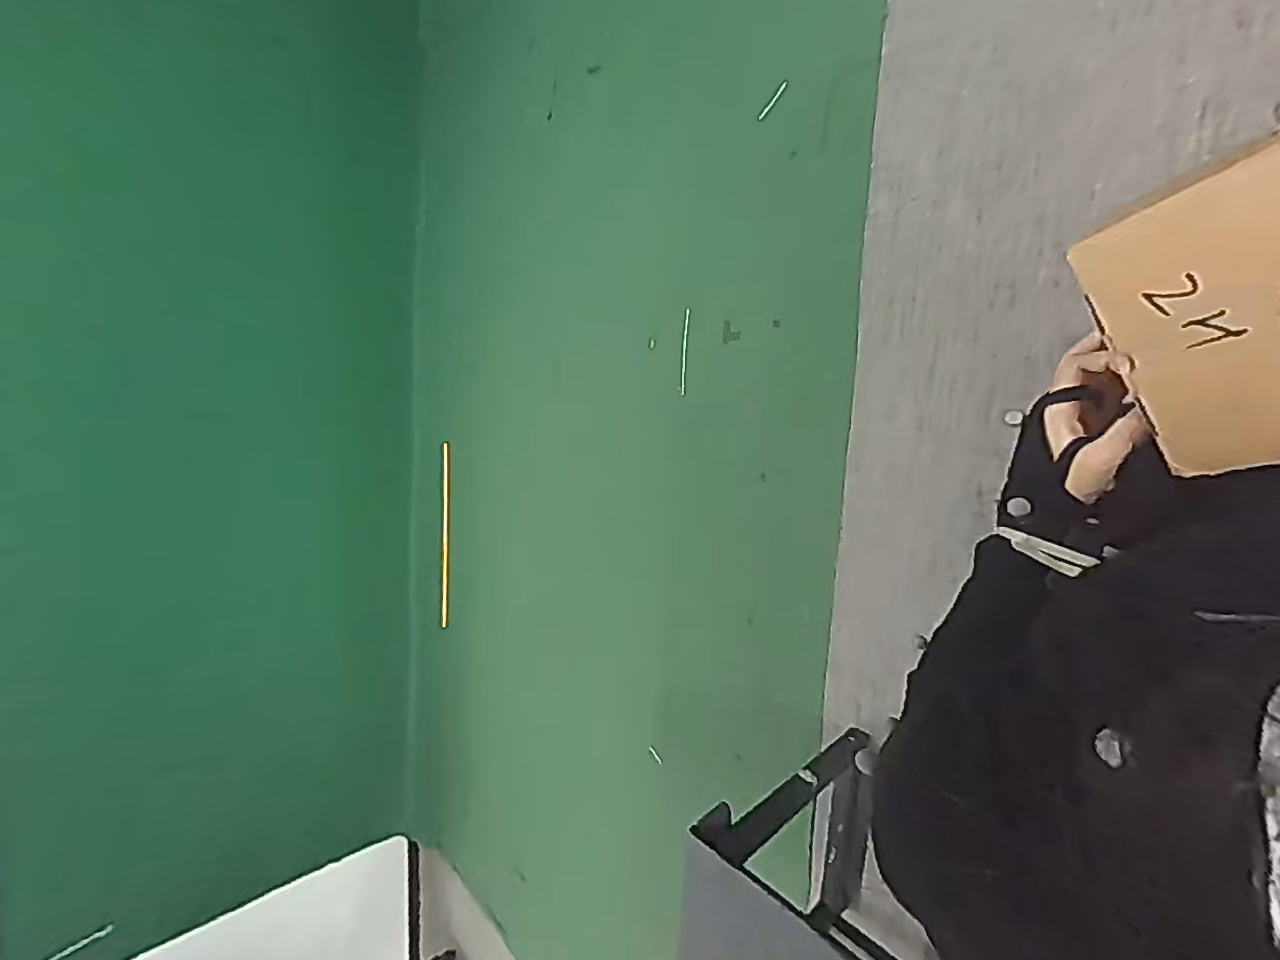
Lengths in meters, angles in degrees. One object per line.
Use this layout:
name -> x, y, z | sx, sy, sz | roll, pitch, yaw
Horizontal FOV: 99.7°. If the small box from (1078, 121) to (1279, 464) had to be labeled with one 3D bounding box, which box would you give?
small box -> 0.413, -0.134, 0.321 | 0.179, 0.176, 0.168 | -24, 96, 55
